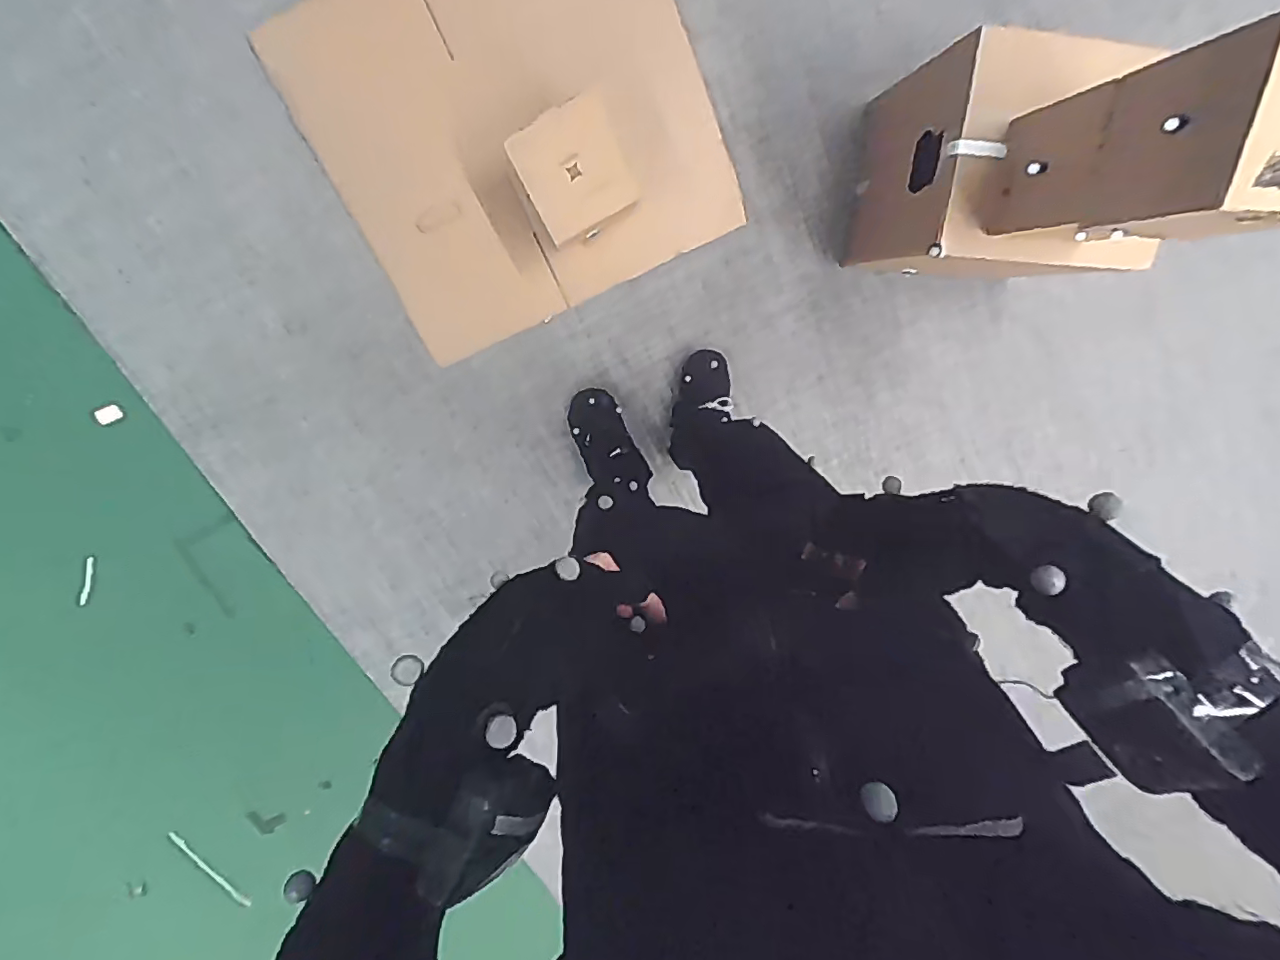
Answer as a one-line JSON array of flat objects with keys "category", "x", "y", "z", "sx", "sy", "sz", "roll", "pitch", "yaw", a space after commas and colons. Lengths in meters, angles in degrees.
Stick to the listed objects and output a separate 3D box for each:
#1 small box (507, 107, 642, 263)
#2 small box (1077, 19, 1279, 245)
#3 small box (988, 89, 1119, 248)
[{"category": "small box", "x": -0.113, "y": -0.510, "z": 0.967, "sx": 0.168, "sy": 0.176, "sz": 0.179, "roll": -29, "pitch": 108, "yaw": 6}, {"category": "small box", "x": 0.664, "y": -0.380, "z": 0.628, "sx": 0.168, "sy": 0.176, "sz": 0.179, "roll": 1, "pitch": 106, "yaw": -8}, {"category": "small box", "x": 0.648, "y": -0.437, "z": 0.784, "sx": 0.179, "sy": 0.176, "sz": 0.168, "roll": -4, "pitch": 106, "yaw": -7}]
